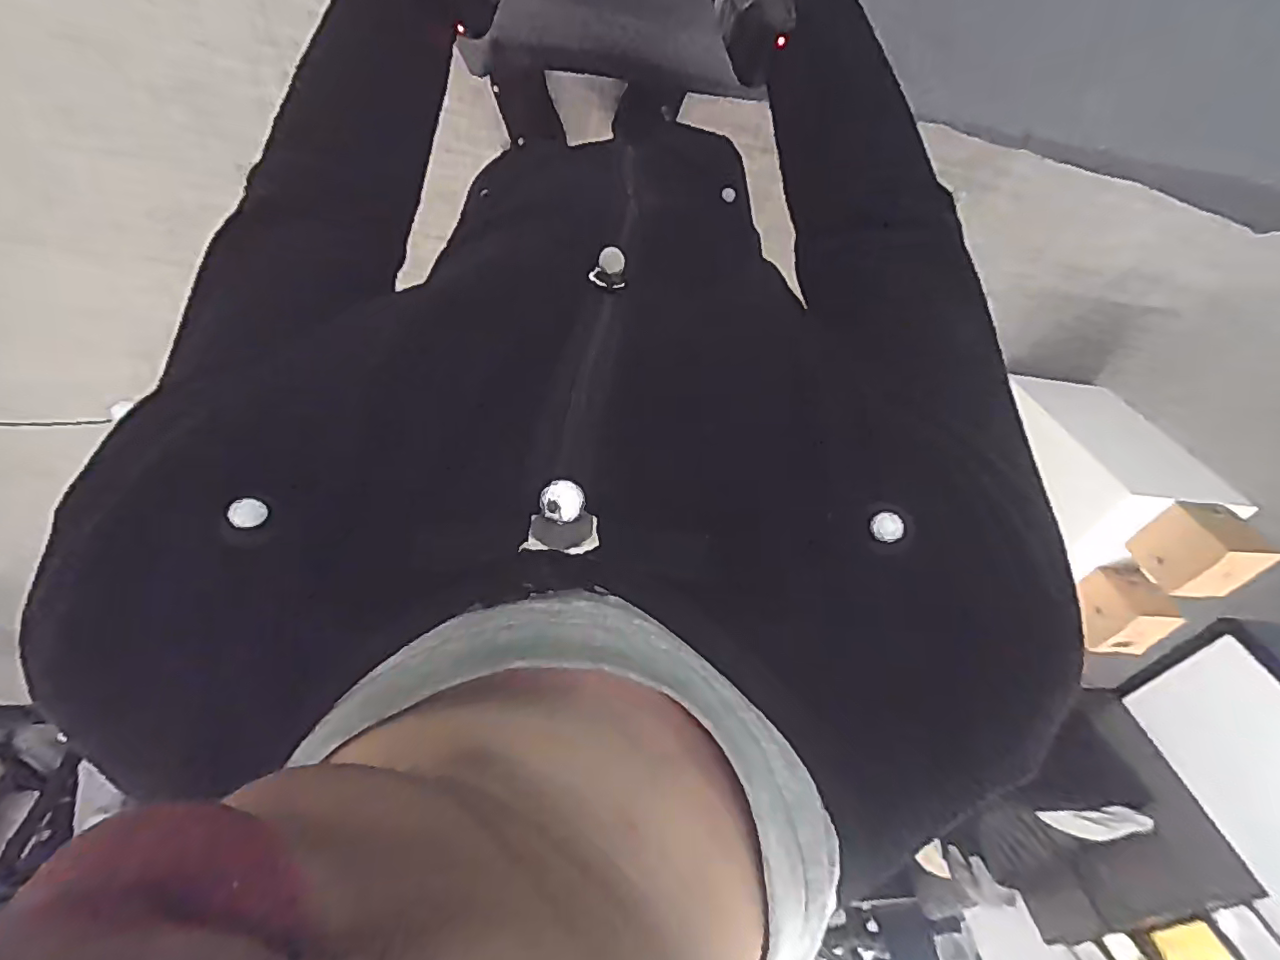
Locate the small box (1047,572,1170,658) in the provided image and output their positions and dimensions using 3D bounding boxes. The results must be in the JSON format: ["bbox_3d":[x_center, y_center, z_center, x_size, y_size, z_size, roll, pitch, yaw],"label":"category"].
[{"bbox_3d":[1.320,0.387,1.546,0.168,0.176,0.179,6,130,-12],"label":"small box"}]

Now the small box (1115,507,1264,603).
[{"bbox_3d":[1.374,0.192,1.375,0.168,0.176,0.179,3,132,-12],"label":"small box"}]
